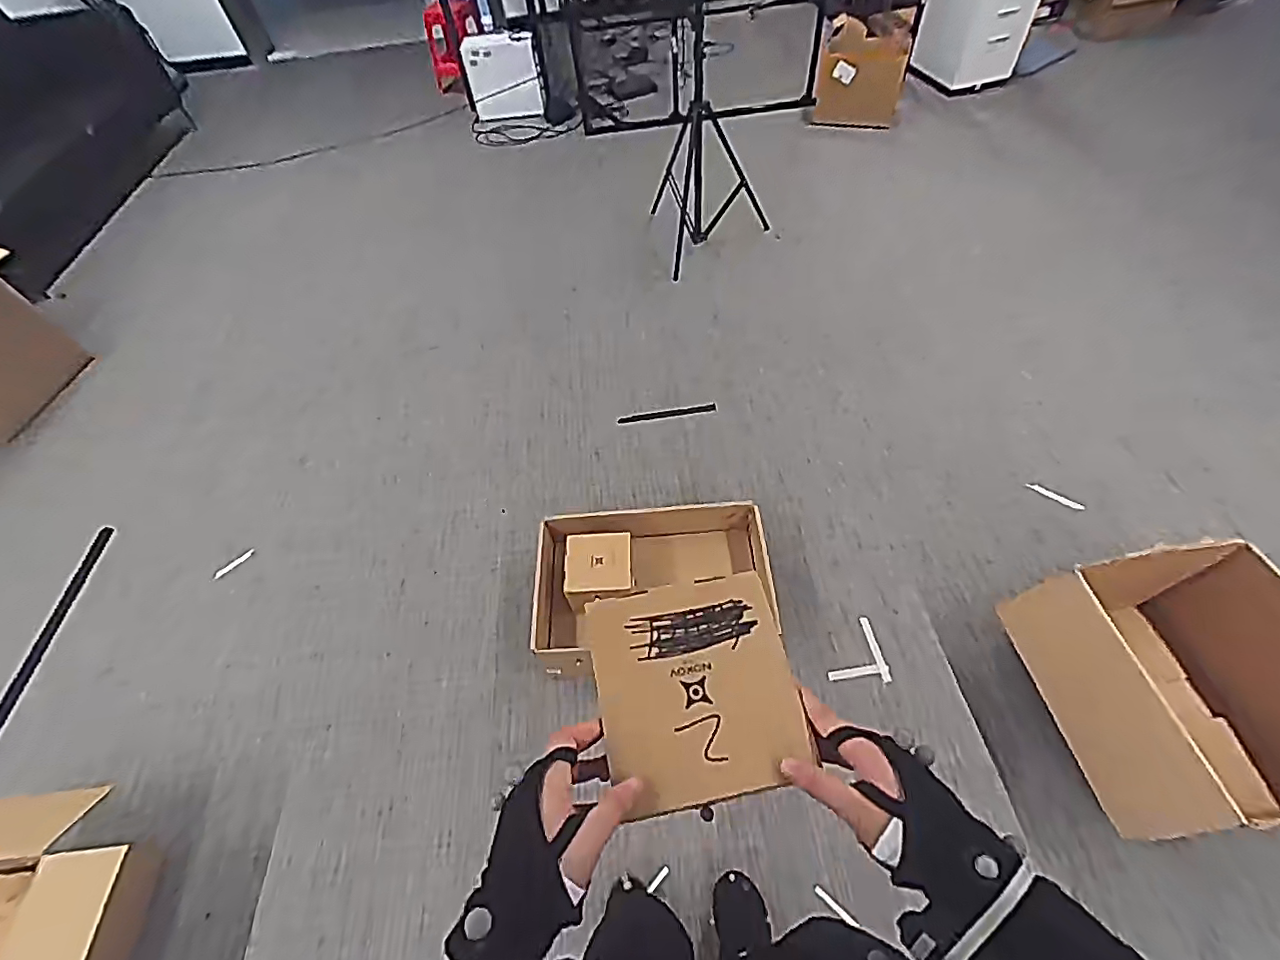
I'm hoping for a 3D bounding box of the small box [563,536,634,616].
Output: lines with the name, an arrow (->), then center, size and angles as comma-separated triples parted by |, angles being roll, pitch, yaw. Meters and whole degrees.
small box -> -0.110, 0.270, 1.497 | 0.179, 0.176, 0.168 | -3, 56, 1
